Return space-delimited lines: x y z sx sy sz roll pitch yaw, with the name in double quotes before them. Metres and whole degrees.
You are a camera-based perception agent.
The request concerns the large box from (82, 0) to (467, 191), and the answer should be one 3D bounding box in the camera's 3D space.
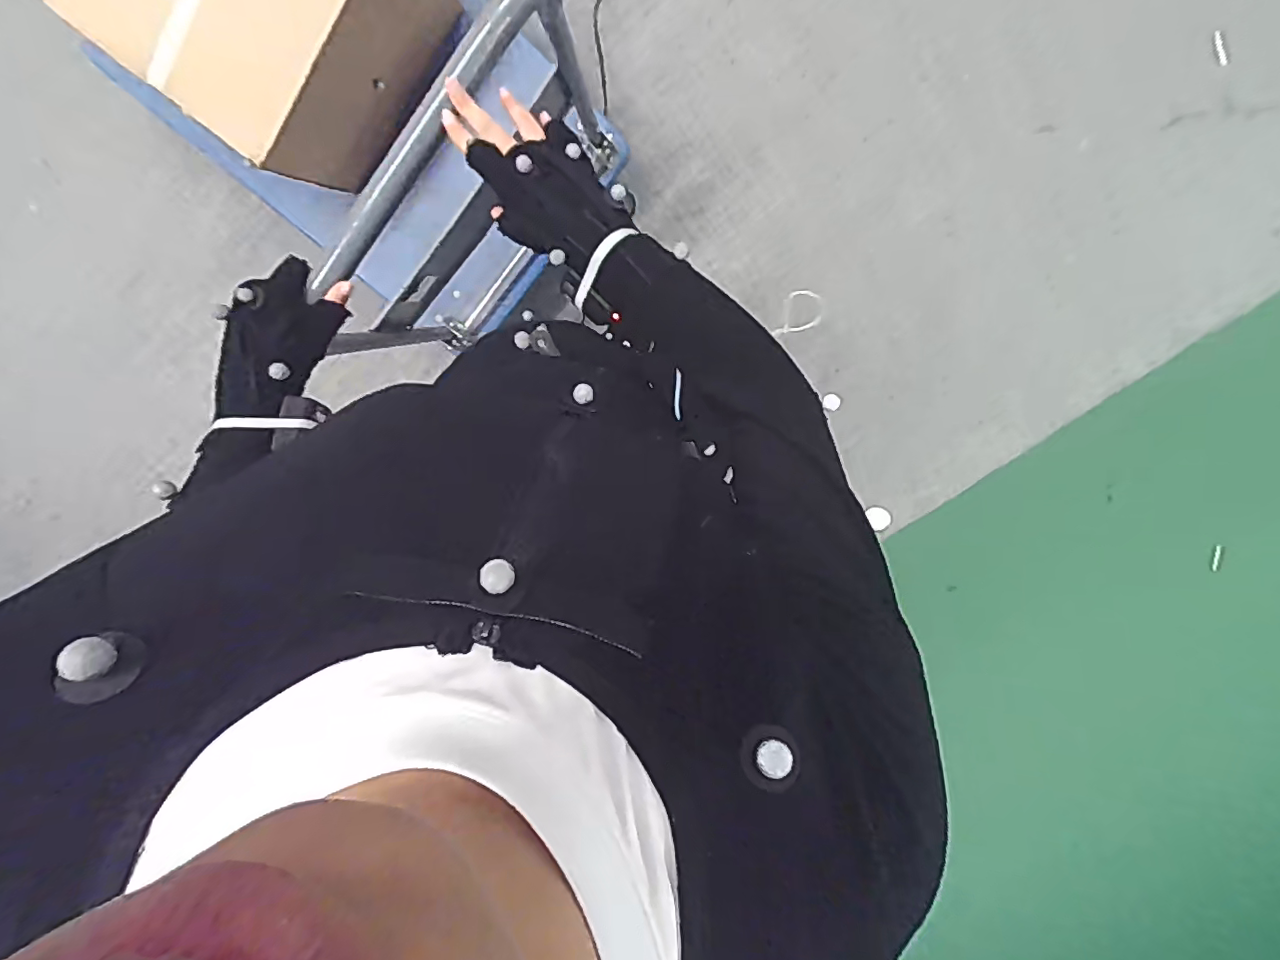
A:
"large box" -0.545 -0.760 0.872 0.320 0.320 0.408 36 107 -13
